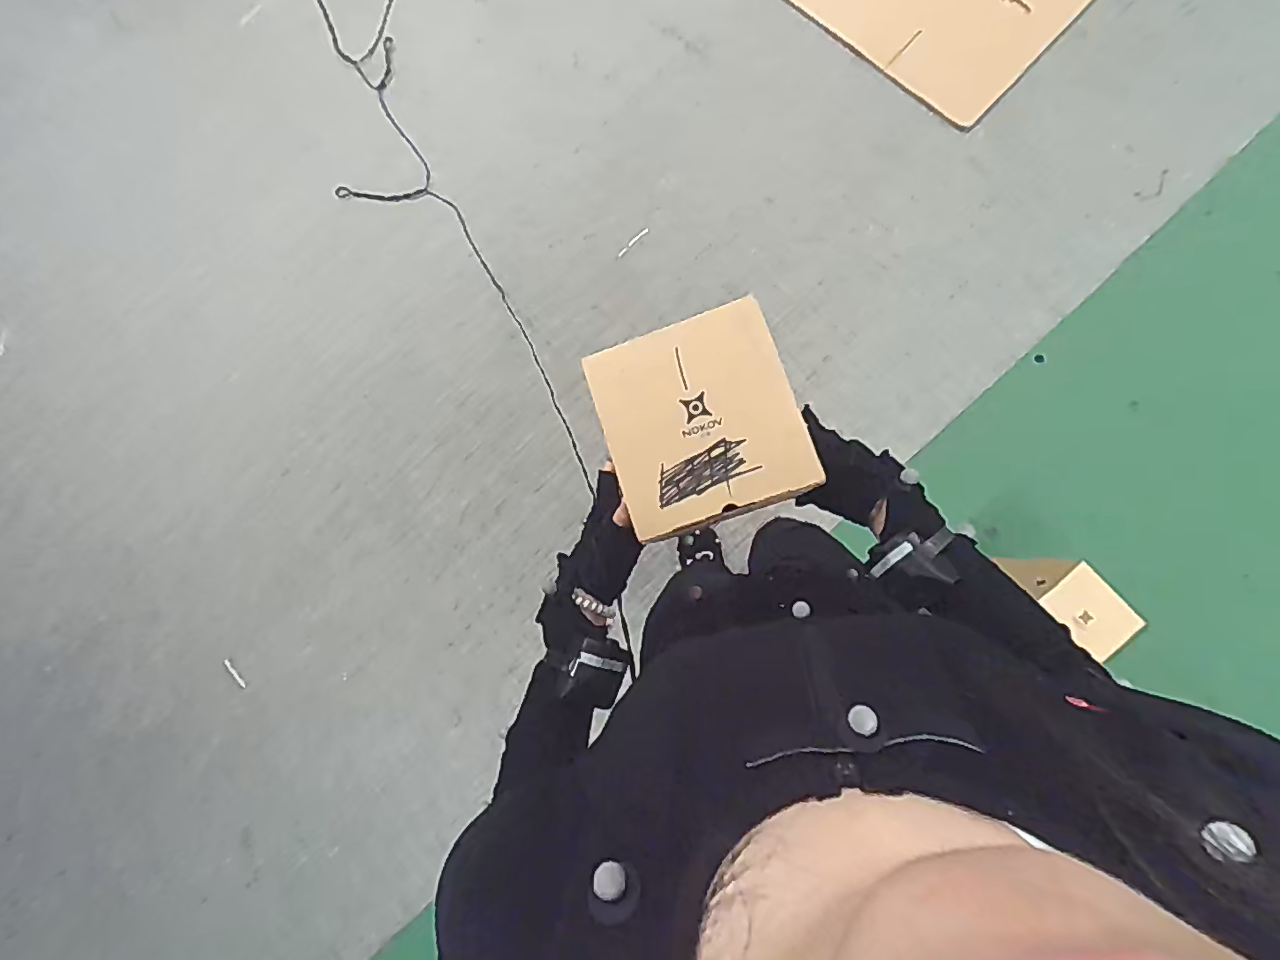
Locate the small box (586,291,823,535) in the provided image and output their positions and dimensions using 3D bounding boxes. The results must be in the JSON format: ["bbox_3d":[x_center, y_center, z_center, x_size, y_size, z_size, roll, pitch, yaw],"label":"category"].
[{"bbox_3d":[0.064,-0.051,0.543,0.168,0.176,0.179,-19,81,5],"label":"small box"}]

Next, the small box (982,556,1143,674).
[{"bbox_3d":[0.892,0.278,1.162,0.179,0.176,0.168,-41,82,1],"label":"small box"}]
